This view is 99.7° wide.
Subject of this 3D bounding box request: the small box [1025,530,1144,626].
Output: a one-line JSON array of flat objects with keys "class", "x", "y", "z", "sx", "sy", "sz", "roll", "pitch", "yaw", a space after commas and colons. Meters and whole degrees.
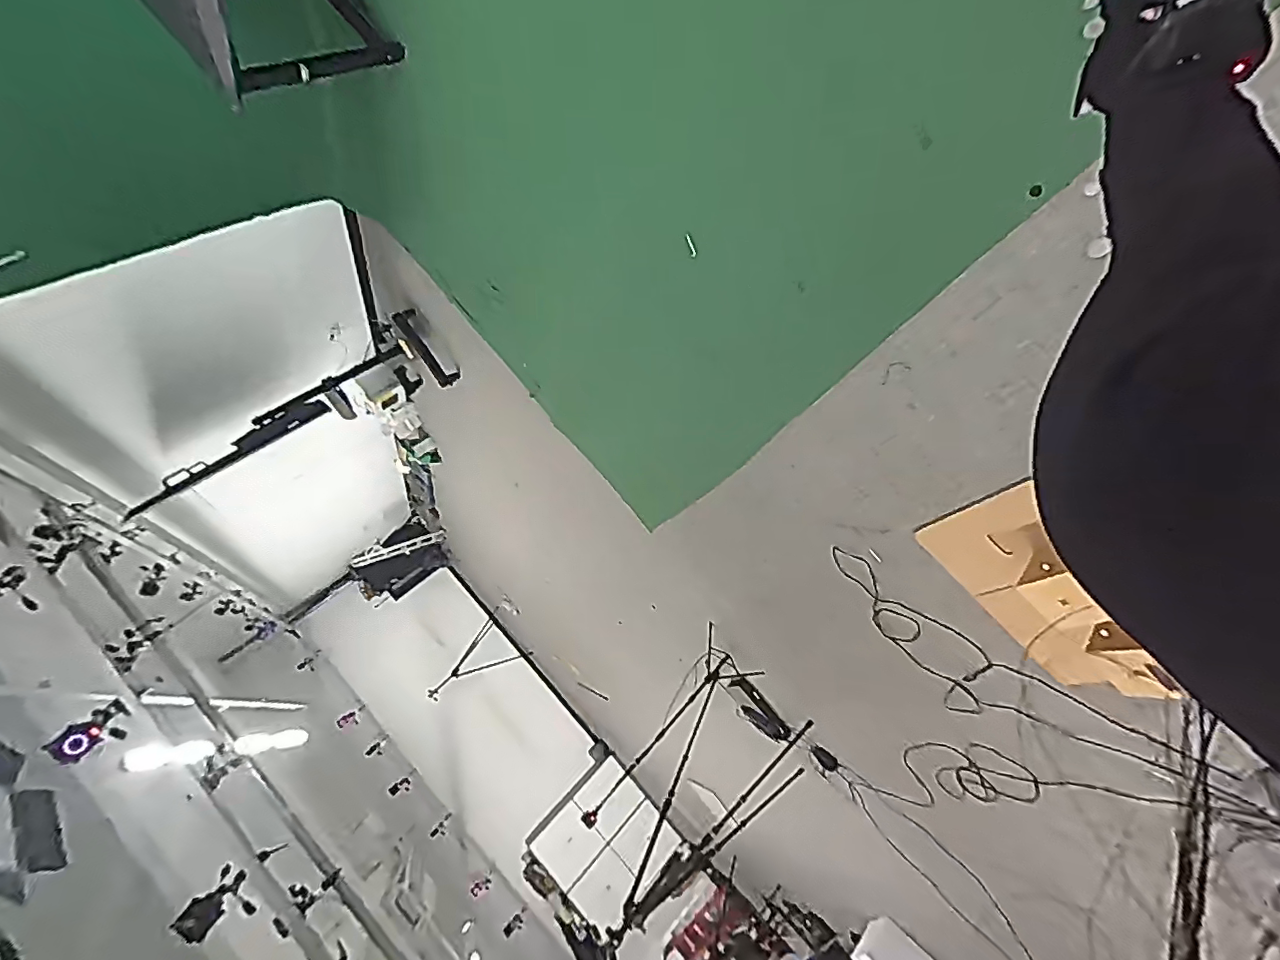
[{"class": "small box", "x": 1.224, "y": 0.270, "z": 1.489, "sx": 0.168, "sy": 0.176, "sz": 0.179, "roll": 46, "pitch": 151, "yaw": 9}]
